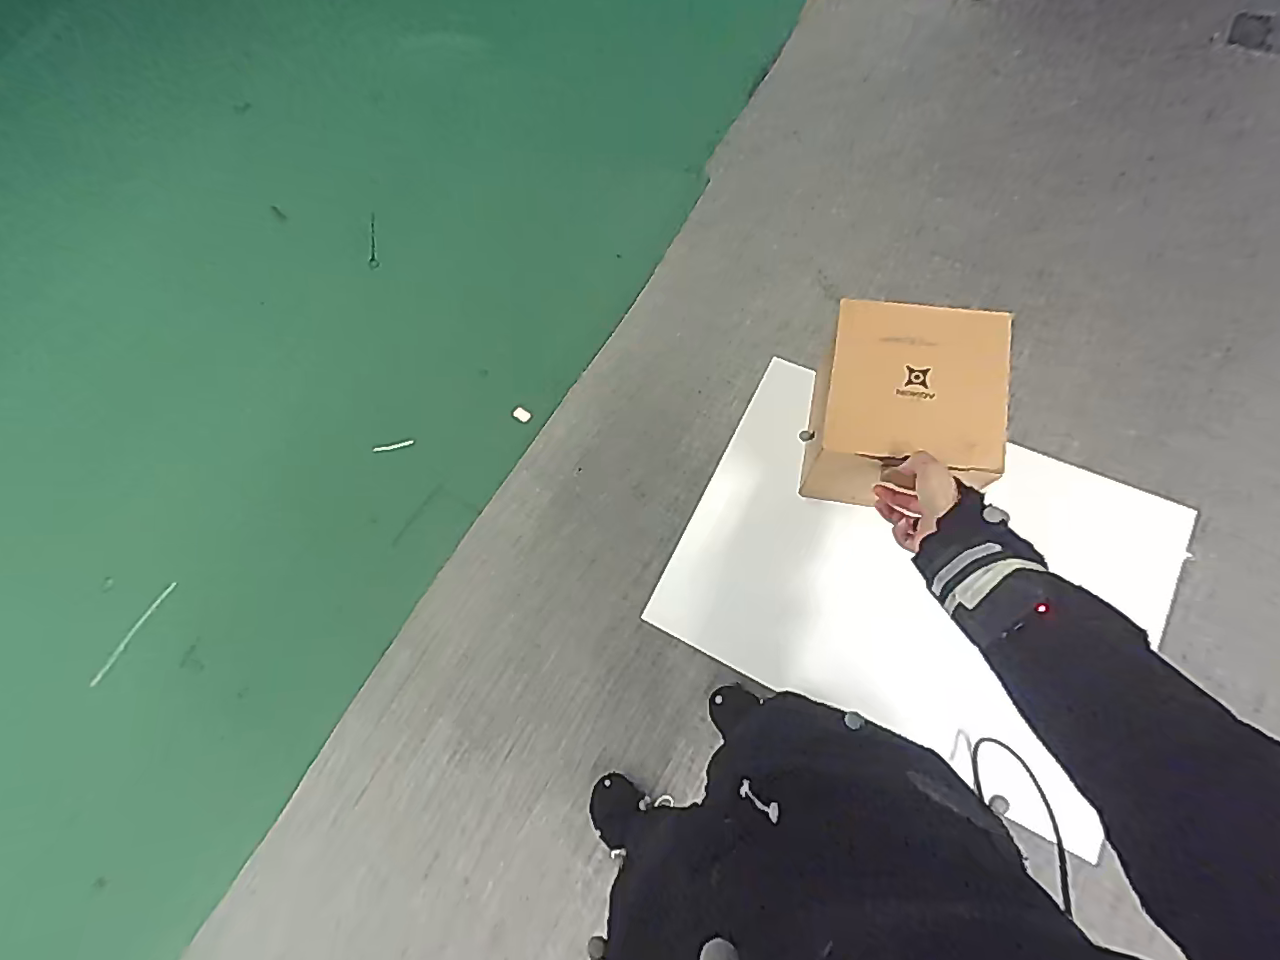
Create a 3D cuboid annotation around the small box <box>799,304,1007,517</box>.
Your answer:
[{"bbox_3d":[0.279,-0.067,0.605,0.168,0.176,0.179,9,74,10],"label":"small box"}]
